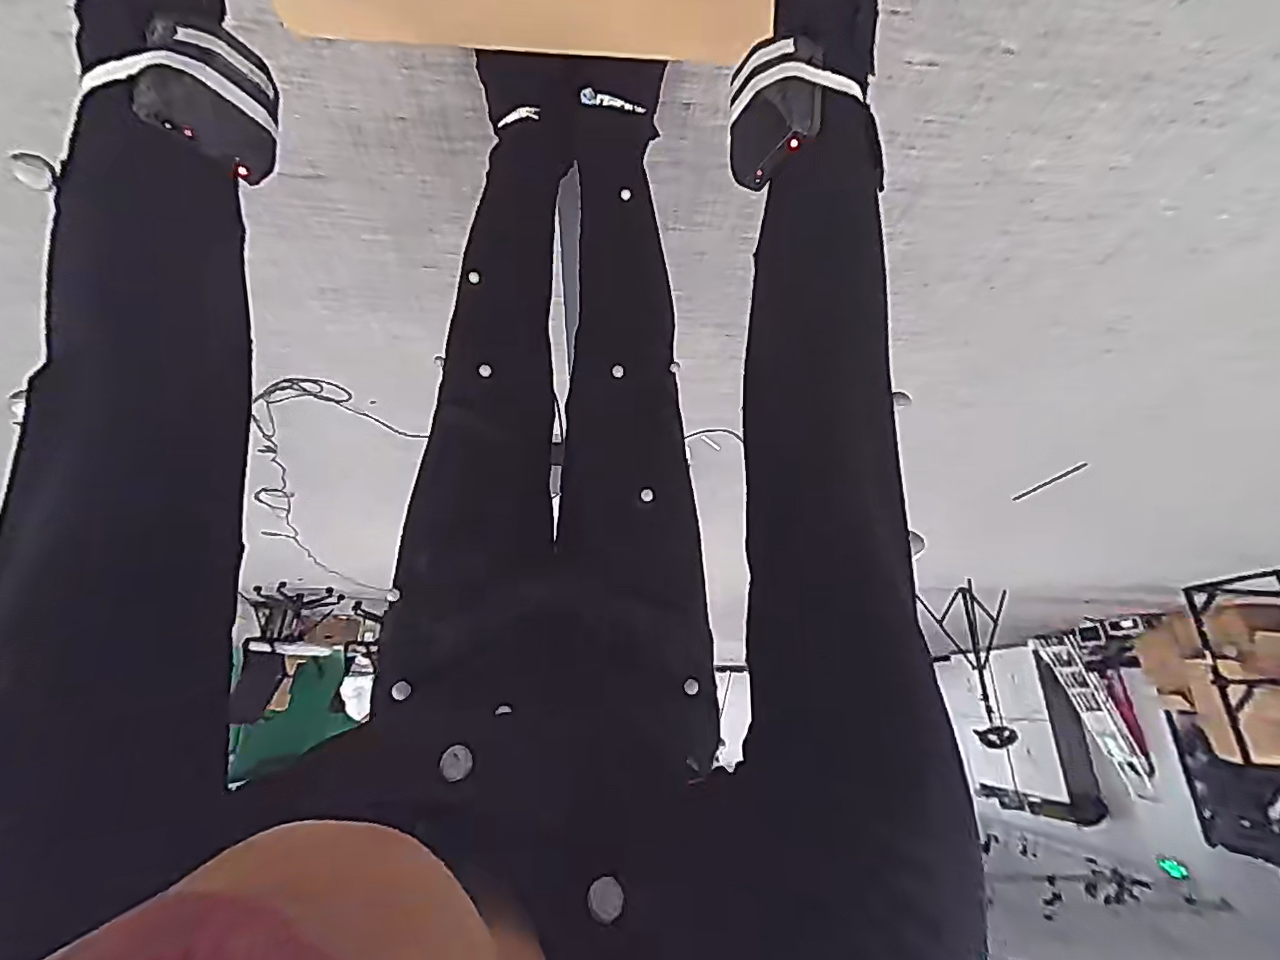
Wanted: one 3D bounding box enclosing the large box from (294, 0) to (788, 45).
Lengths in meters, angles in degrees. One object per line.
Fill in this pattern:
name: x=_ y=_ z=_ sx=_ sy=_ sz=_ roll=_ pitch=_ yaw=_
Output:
large box: x=-0.078 y=-0.570 z=0.374 sx=0.408 sy=0.320 sz=0.320 roll=0 pitch=159 yaw=-3
